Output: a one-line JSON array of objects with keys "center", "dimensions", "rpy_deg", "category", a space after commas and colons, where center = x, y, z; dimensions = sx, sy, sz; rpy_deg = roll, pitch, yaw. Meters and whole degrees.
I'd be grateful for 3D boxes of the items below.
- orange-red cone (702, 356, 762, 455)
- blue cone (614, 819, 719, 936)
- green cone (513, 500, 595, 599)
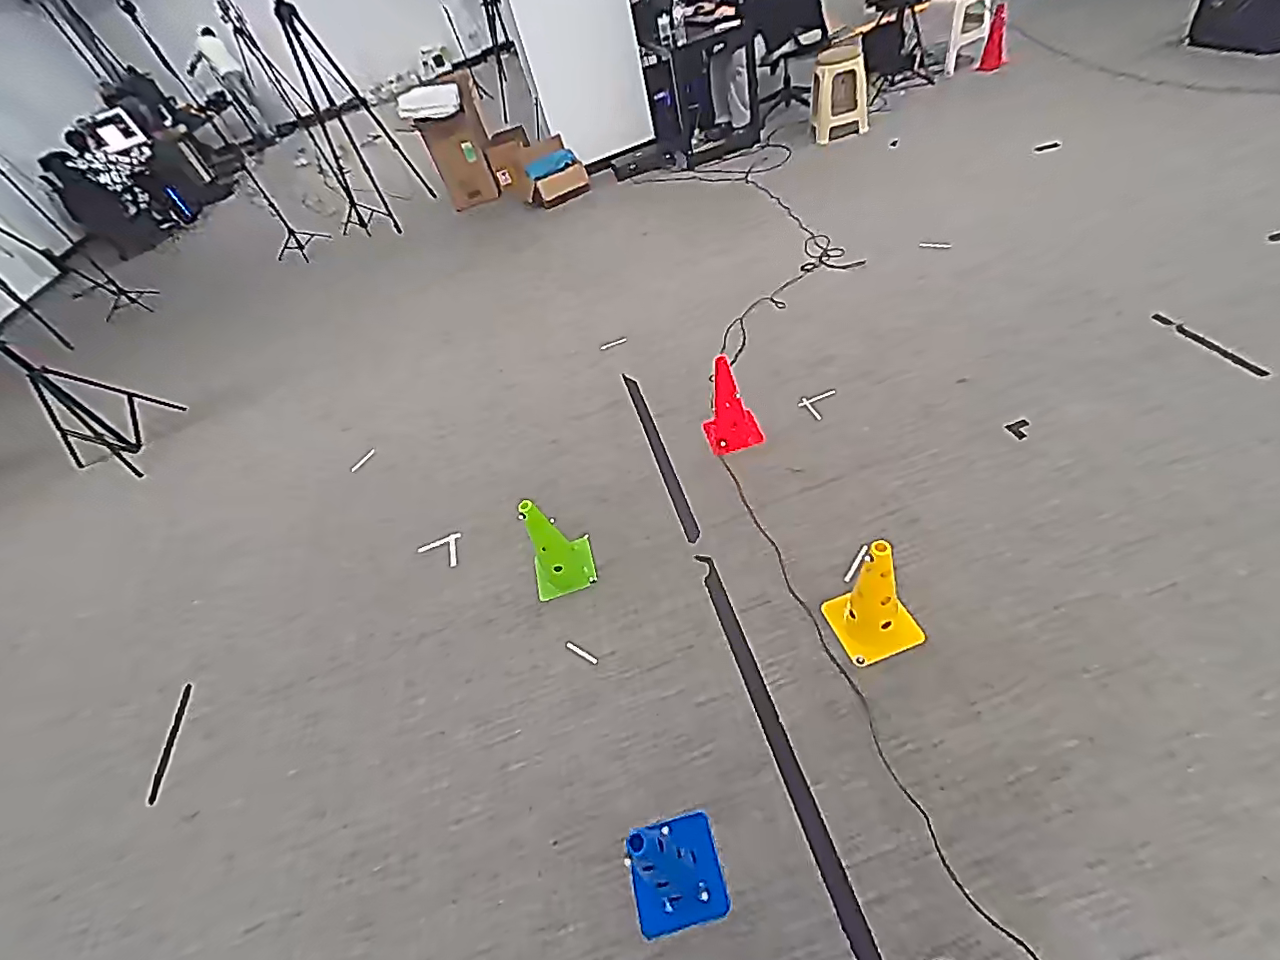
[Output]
[{"center": [0.310, -0.295, 1.951], "dimensions": [0.199, 0.360, 0.198], "rpy_deg": [-16, 47, 3], "category": "orange-red cone"}, {"center": [0.028, 0.769, 1.086], "dimensions": [0.192, 0.380, 0.193], "rpy_deg": [-18, 45, 3], "category": "blue cone"}, {"center": [-0.304, 0.185, 1.714], "dimensions": [0.202, 0.368, 0.200], "rpy_deg": [-21, 46, 1], "category": "green cone"}]
